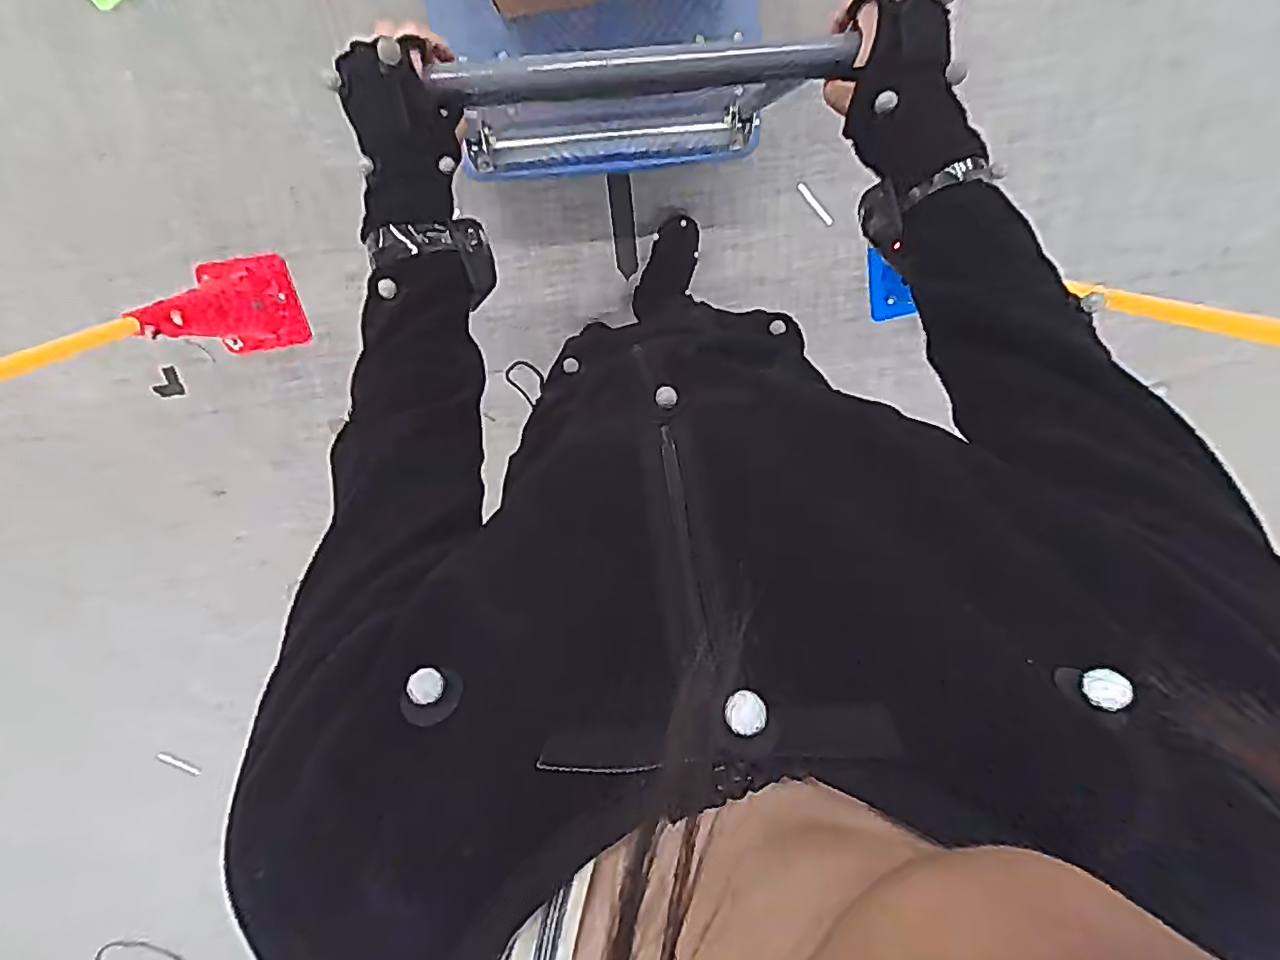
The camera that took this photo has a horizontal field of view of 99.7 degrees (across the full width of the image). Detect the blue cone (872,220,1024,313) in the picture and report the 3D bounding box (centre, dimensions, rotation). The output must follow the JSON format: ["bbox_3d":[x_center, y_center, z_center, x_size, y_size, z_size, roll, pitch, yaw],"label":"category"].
[{"bbox_3d":[0.670,-0.452,1.156,0.193,0.380,0.192,-12,112,0],"label":"blue cone"}]
